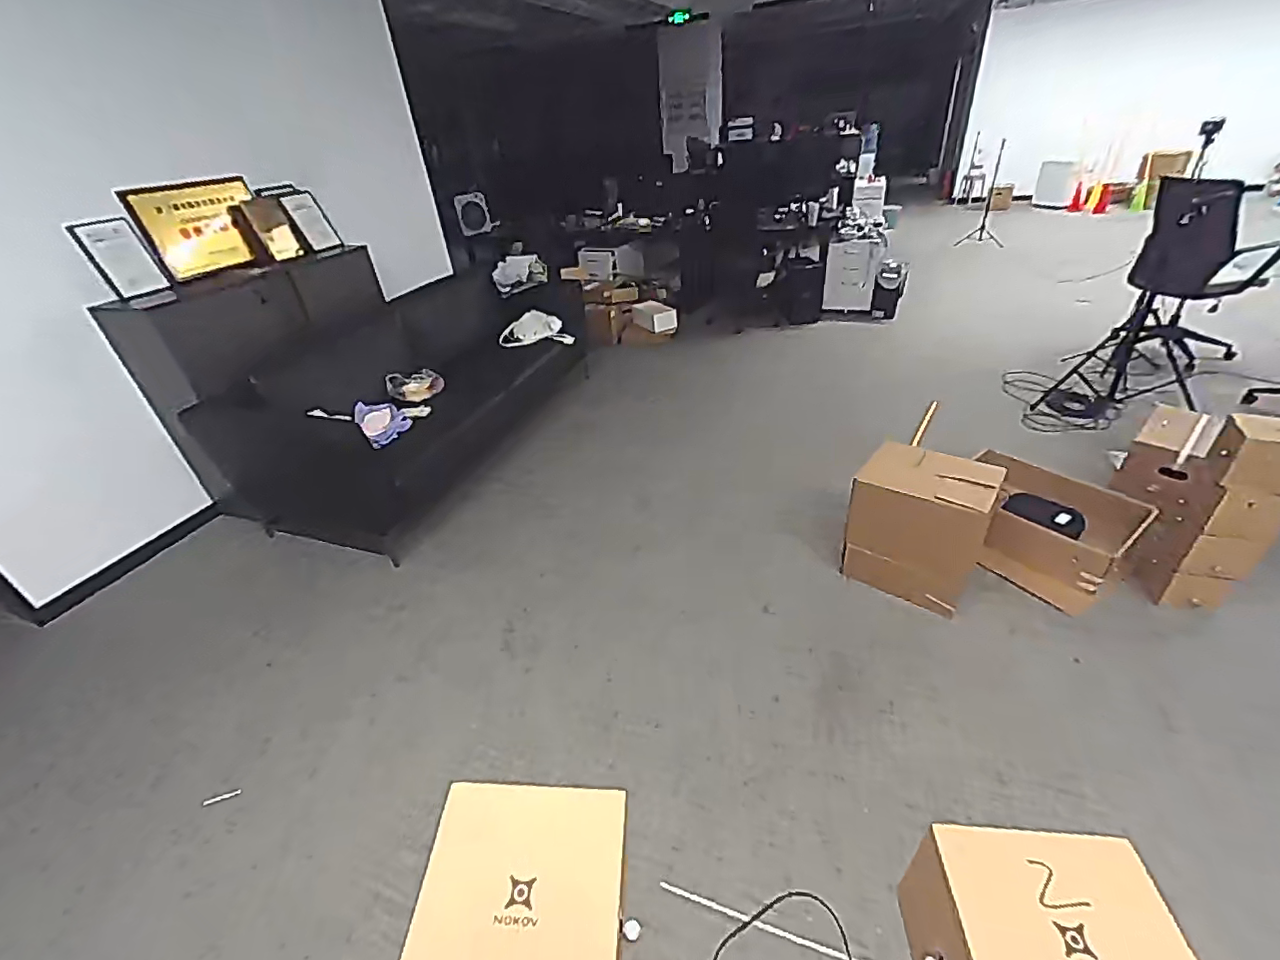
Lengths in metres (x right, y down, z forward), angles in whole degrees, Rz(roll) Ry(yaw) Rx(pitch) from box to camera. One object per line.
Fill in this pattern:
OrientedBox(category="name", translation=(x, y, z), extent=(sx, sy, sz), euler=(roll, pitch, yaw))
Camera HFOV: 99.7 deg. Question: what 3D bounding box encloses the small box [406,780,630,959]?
OrientedBox(category="small box", translation=(-0.099, 0.408, 0.498), extent=(0.168, 0.176, 0.179), euler=(3, 40, 1))
